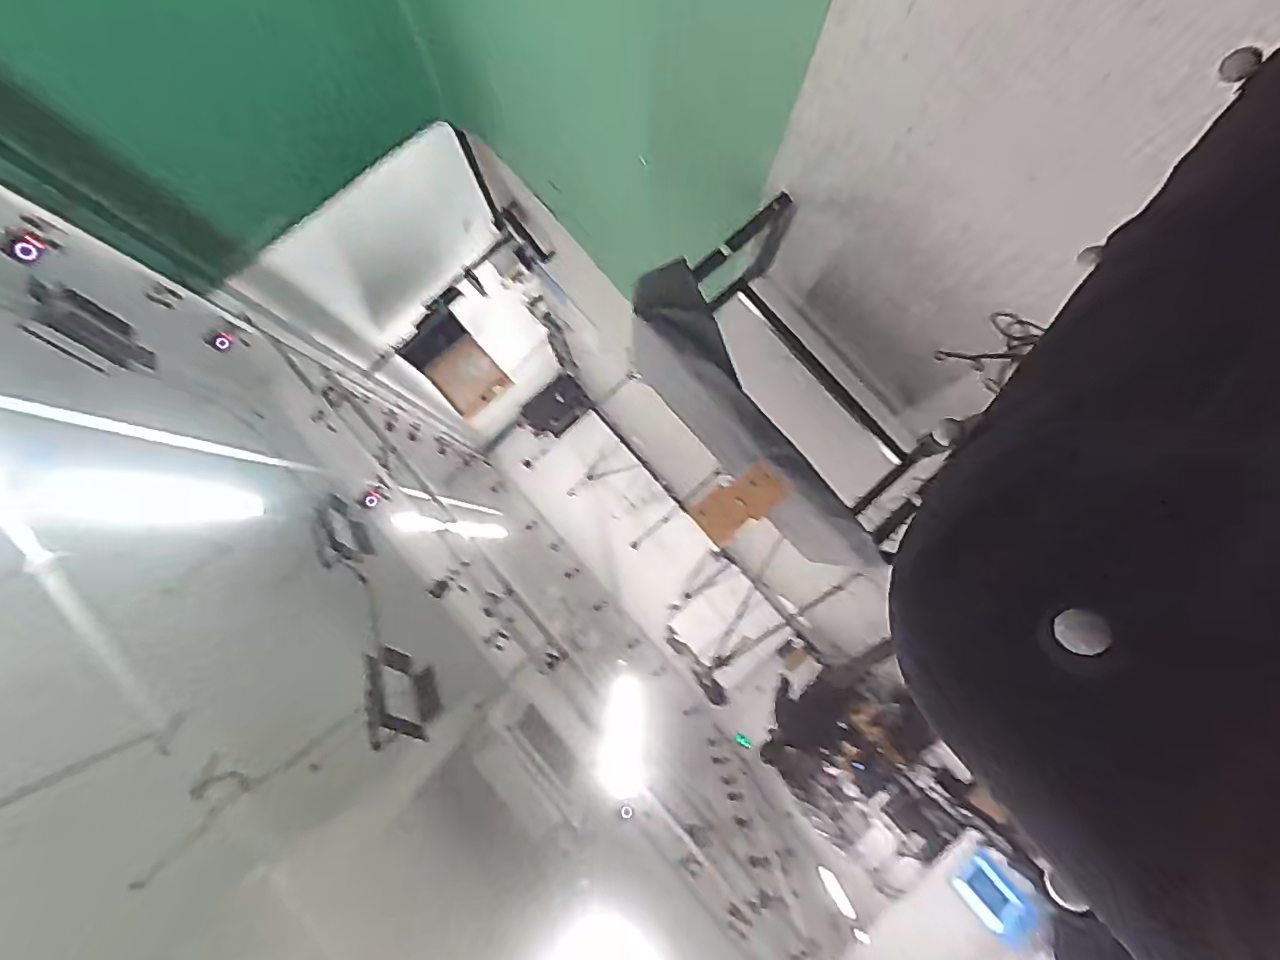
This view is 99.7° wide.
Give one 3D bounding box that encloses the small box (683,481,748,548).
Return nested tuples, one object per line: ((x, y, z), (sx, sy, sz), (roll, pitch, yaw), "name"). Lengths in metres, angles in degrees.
((0.276, 0.126, 1.988), (0.179, 0.176, 0.168), (49, 176, 11), "small box")

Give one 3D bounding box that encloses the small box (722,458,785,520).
((0.410, 0.032, 1.997), (0.168, 0.176, 0.179), (50, 177, 4), "small box")
